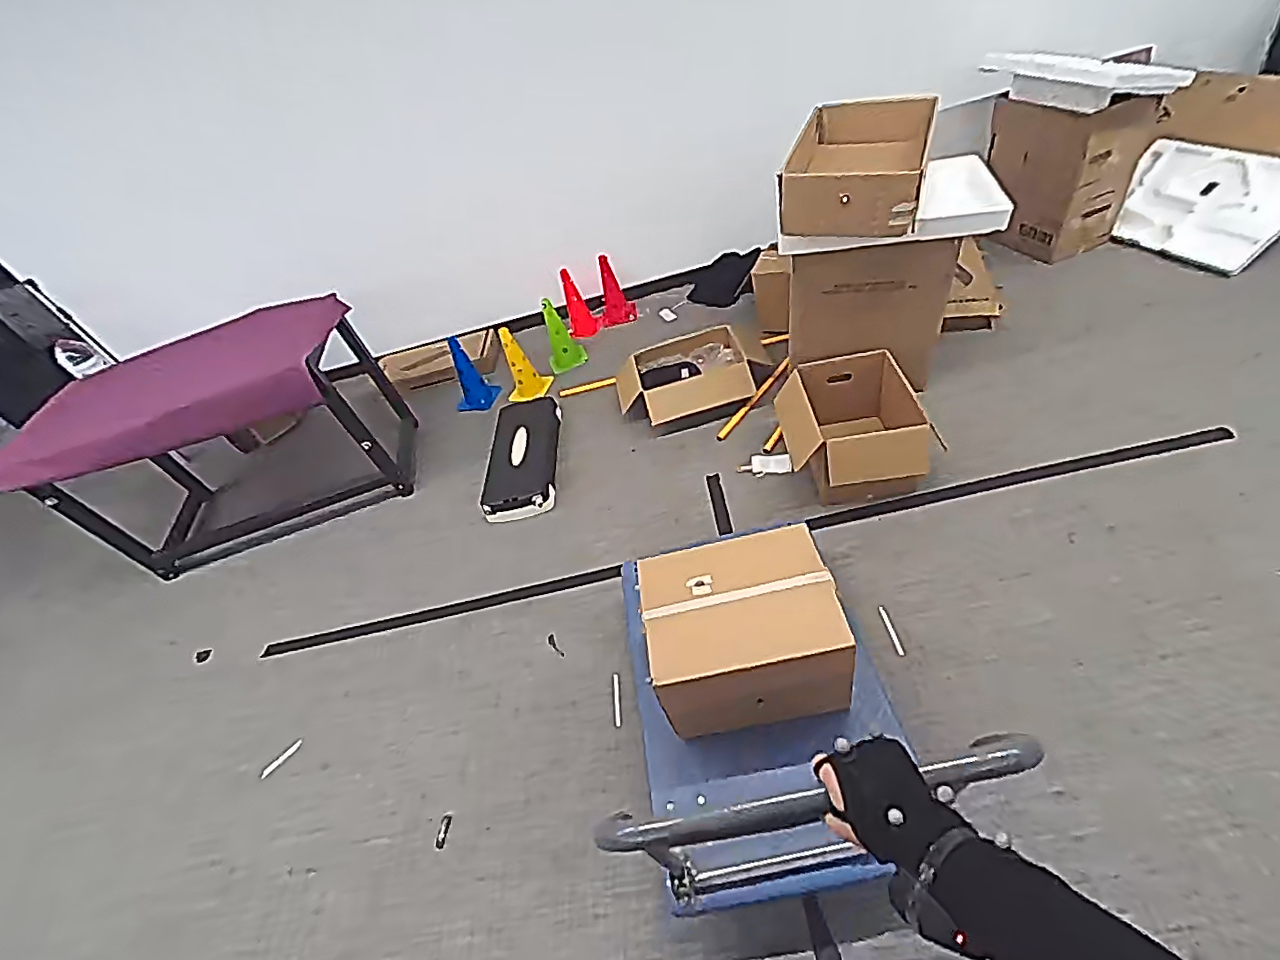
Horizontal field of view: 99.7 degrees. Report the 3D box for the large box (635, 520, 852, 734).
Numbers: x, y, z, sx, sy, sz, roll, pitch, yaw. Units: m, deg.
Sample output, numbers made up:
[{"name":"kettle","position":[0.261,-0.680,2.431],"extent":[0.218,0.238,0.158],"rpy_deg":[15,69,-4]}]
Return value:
[{"name":"large box","position":[0.232,0.345,1.252],"extent":[0.408,0.320,0.320],"rpy_deg":[-15,43,6]}]
